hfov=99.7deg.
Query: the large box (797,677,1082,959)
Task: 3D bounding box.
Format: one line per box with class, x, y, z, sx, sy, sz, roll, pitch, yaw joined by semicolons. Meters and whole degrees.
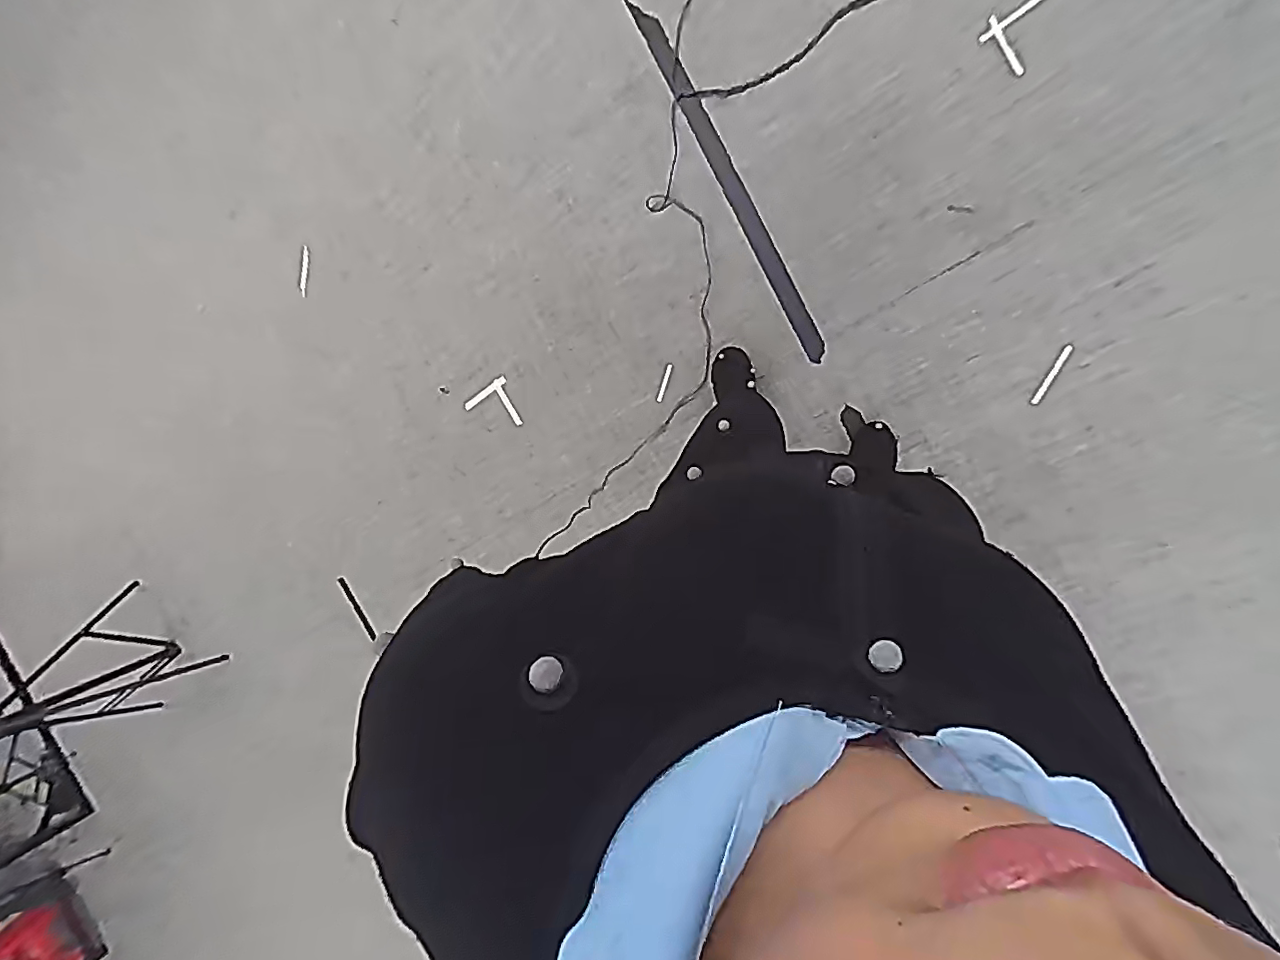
large box;0.603;0.719;1.175;0.320;0.320;0.408;46;112;7
